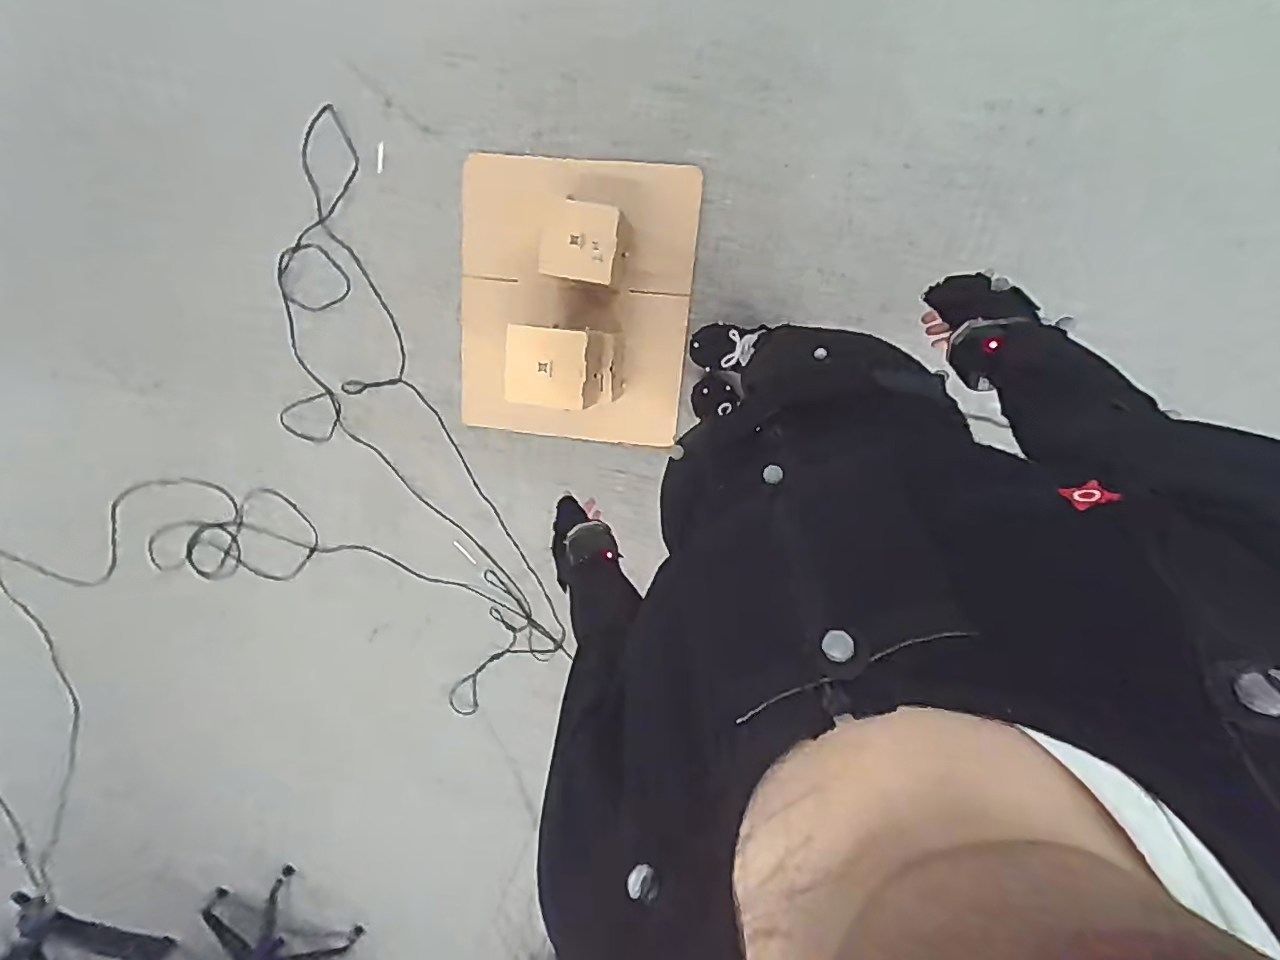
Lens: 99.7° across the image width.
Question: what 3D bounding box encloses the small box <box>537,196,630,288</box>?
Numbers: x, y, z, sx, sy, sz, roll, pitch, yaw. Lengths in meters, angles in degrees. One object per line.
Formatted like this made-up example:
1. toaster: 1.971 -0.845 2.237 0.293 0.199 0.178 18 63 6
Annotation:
1. small box: -0.130 -0.561 1.296 0.179 0.176 0.168 11 107 4

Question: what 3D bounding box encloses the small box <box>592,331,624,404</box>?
1. small box: -0.138 -0.291 1.366 0.179 0.176 0.168 5 105 7

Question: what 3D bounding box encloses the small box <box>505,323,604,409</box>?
1. small box: -0.187 -0.257 1.212 0.179 0.176 0.168 7 105 6
